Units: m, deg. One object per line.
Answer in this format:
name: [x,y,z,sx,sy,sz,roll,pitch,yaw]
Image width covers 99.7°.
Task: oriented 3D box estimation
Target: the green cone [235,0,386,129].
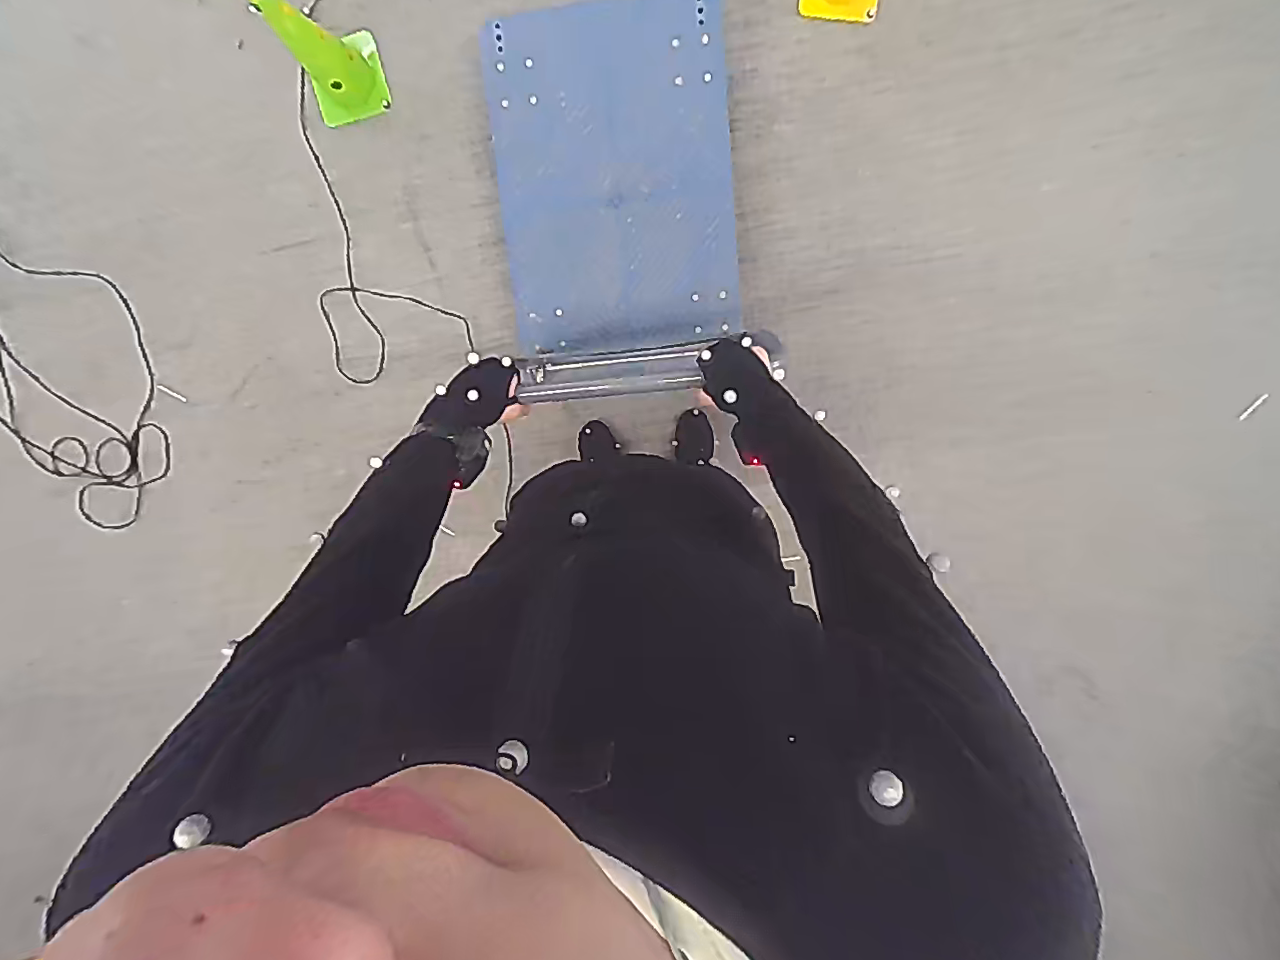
green cone: [-0.813,-1.048,1.293,0.202,0.368,0.200,-14,99,6]
